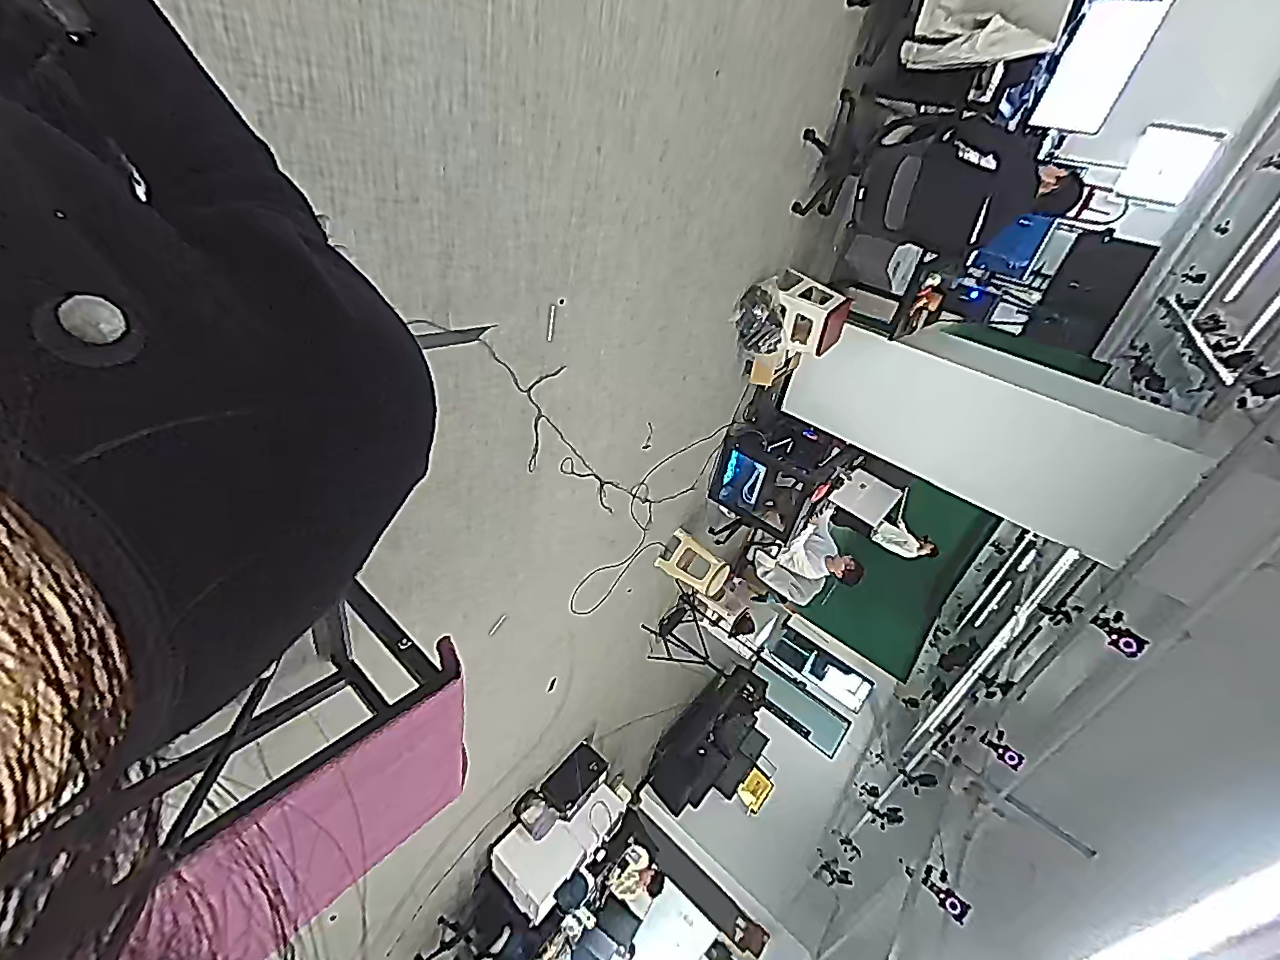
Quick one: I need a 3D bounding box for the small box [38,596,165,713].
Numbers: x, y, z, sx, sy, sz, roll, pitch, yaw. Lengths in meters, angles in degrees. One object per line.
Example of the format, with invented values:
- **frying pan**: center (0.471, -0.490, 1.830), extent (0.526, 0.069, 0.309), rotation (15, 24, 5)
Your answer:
- **small box**: center (-1.329, 0.425, 1.340), extent (0.168, 0.176, 0.179), rotation (-28, 140, -45)
